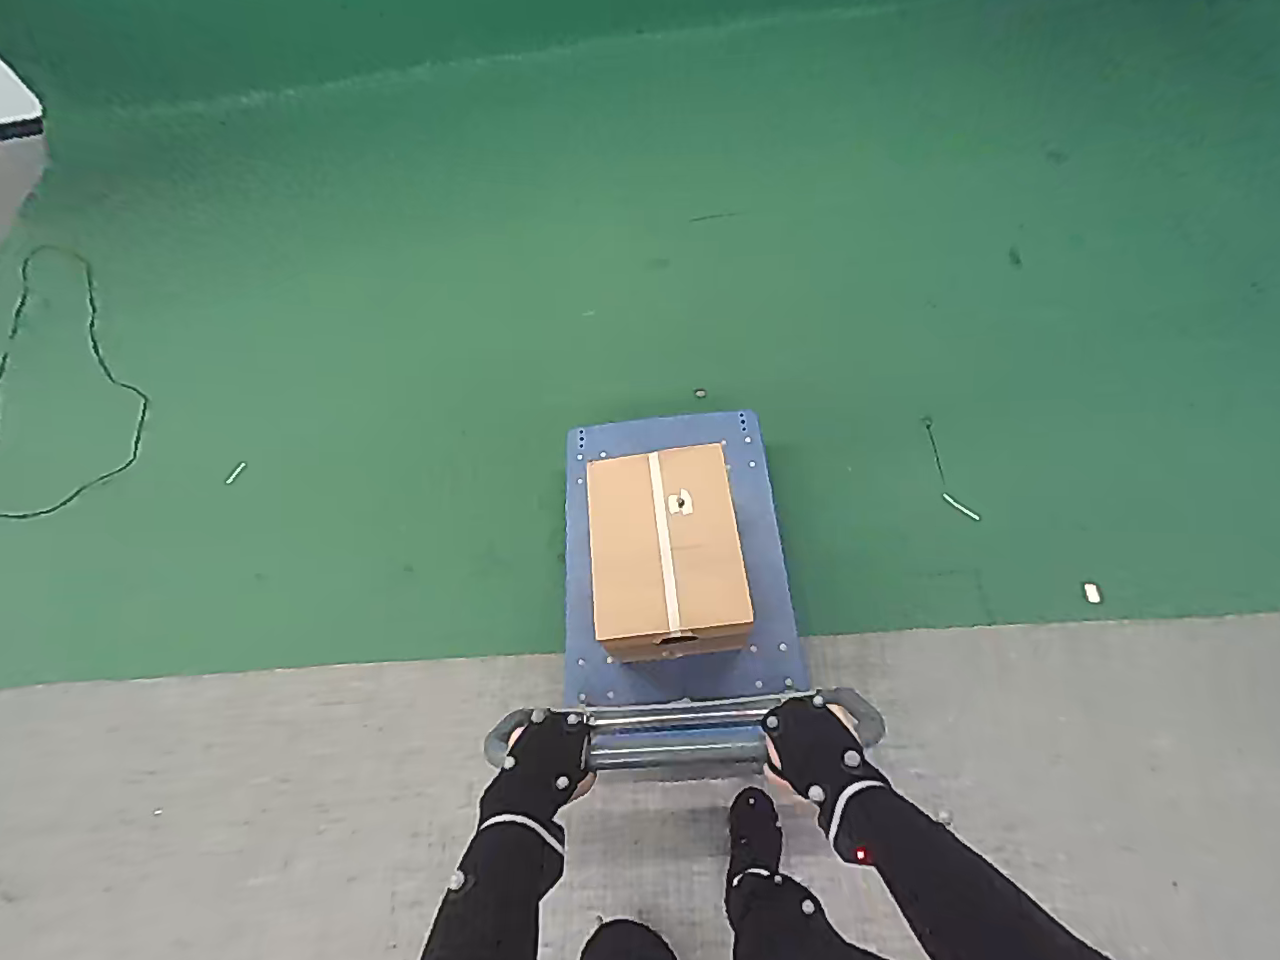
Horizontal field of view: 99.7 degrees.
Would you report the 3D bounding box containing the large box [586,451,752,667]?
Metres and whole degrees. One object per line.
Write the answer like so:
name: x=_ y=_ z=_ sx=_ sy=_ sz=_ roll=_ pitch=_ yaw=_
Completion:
large box: x=0.067 y=0.197 z=1.276 sx=0.320 sy=0.320 sz=0.408 roll=-8 pitch=63 yaw=3
